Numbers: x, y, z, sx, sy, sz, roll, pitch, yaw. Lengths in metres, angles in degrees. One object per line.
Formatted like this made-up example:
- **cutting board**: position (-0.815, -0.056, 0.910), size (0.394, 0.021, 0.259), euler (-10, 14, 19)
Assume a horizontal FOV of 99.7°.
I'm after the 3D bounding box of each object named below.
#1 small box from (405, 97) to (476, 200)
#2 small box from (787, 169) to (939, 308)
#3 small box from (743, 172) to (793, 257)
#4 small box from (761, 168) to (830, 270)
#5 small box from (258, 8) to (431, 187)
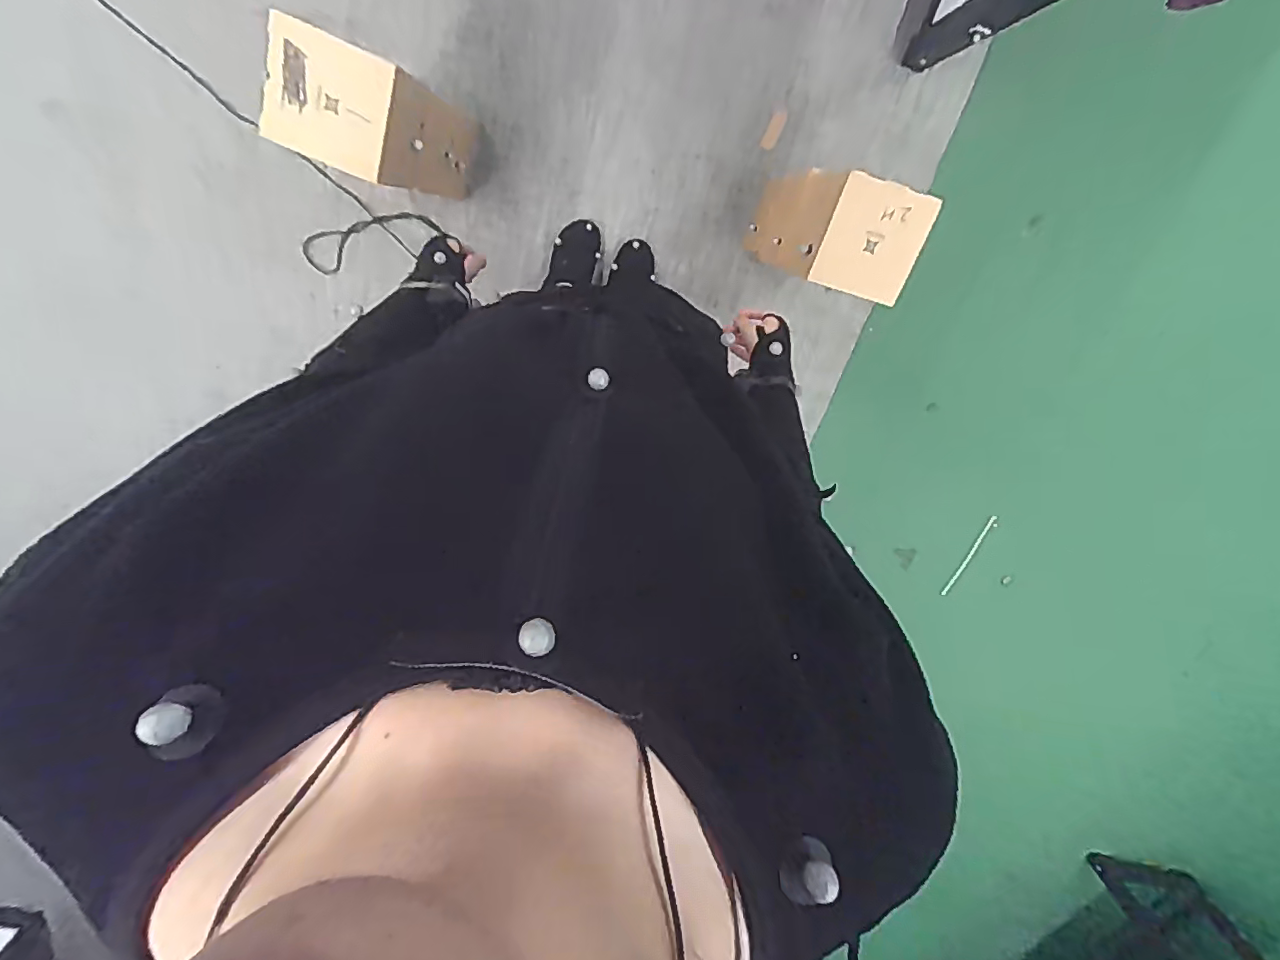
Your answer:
- **small box**: position (-0.466, -0.721, 1.158), size (0.168, 0.176, 0.179), euler (18, 115, -10)
- **small box**: position (0.379, -0.428, 0.962), size (0.168, 0.176, 0.179), euler (14, 116, -9)
- **small box**: position (0.355, -0.586, 1.247), size (0.179, 0.176, 0.168), euler (16, 114, -9)
- **small box**: position (0.363, -0.512, 1.103), size (0.168, 0.176, 0.179), euler (13, 116, -8)
- **small box**: position (-0.459, -0.585, 0.858), size (0.179, 0.176, 0.168), euler (20, 113, -11)
